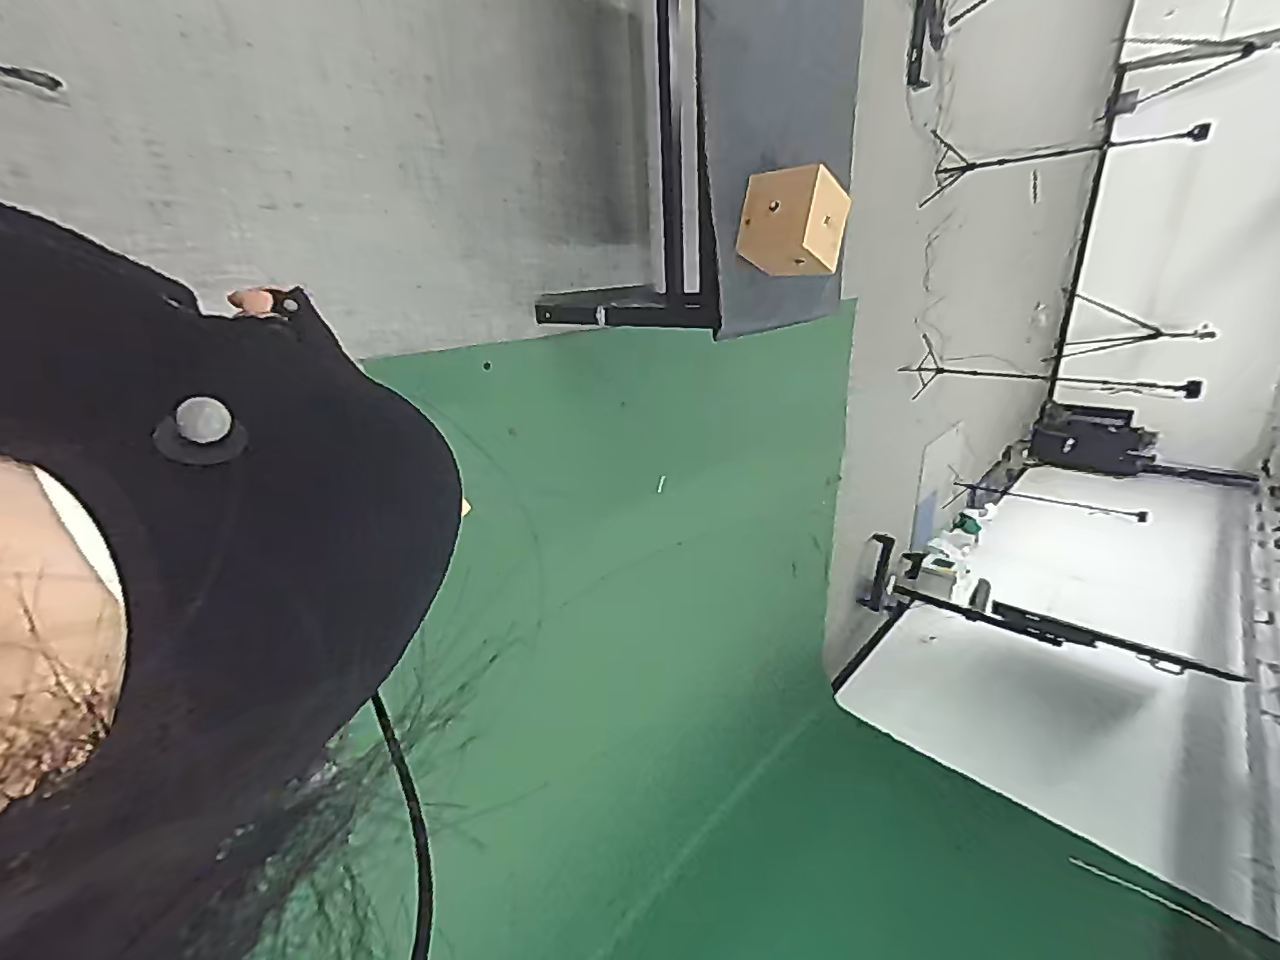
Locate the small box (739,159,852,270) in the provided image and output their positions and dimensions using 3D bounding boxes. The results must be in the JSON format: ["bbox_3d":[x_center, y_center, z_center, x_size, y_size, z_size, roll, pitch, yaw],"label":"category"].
[{"bbox_3d":[0.341,-0.572,1.195,0.179,0.176,0.168,4,100,-49],"label":"small box"}]
